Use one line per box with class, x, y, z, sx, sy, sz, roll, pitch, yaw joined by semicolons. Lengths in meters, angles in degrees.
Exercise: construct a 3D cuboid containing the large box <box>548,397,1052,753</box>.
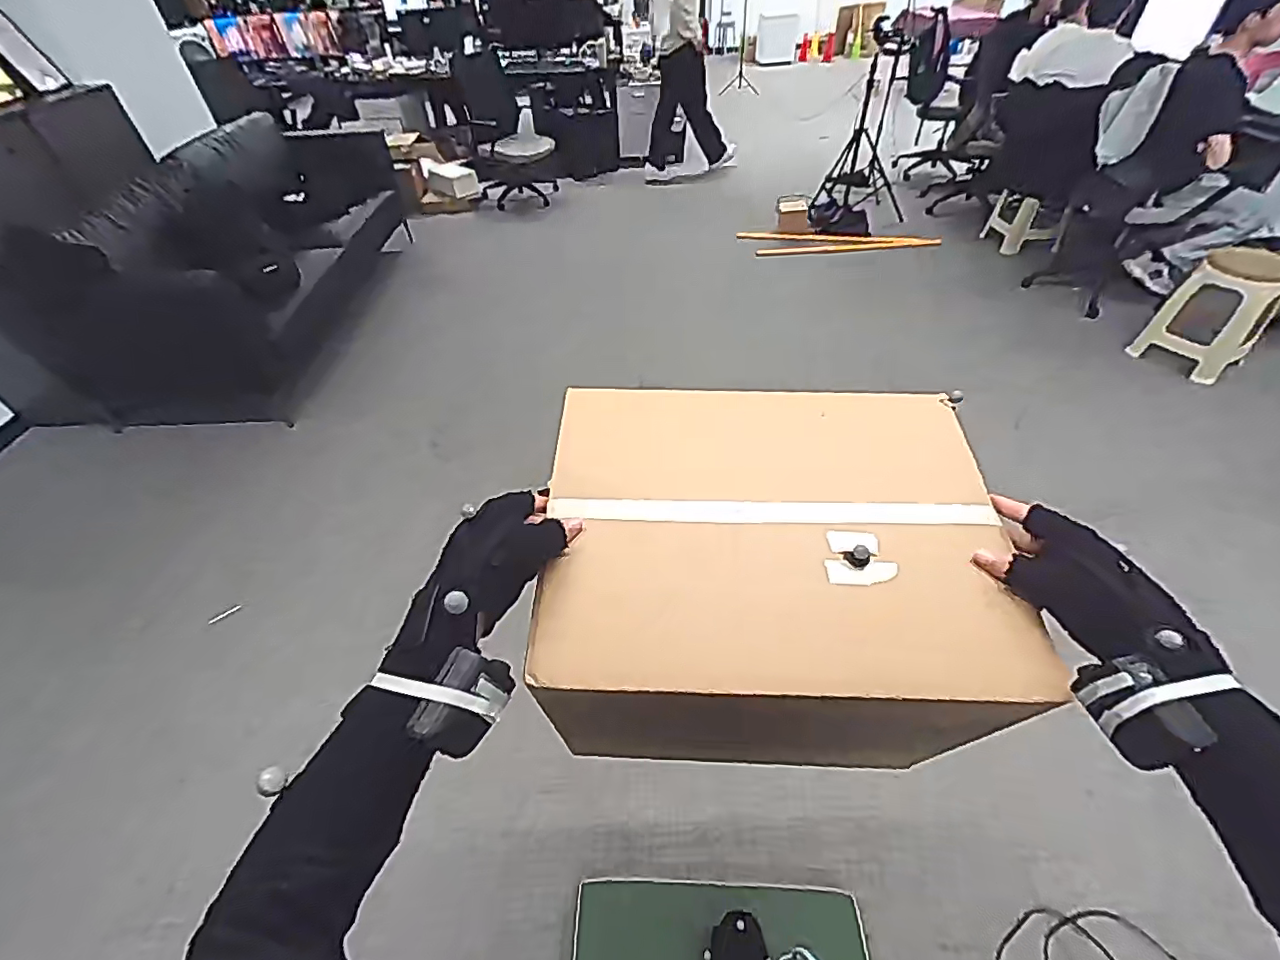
large box;0.124;0.120;0.626;0.408;0.320;0.320;1;55;1
